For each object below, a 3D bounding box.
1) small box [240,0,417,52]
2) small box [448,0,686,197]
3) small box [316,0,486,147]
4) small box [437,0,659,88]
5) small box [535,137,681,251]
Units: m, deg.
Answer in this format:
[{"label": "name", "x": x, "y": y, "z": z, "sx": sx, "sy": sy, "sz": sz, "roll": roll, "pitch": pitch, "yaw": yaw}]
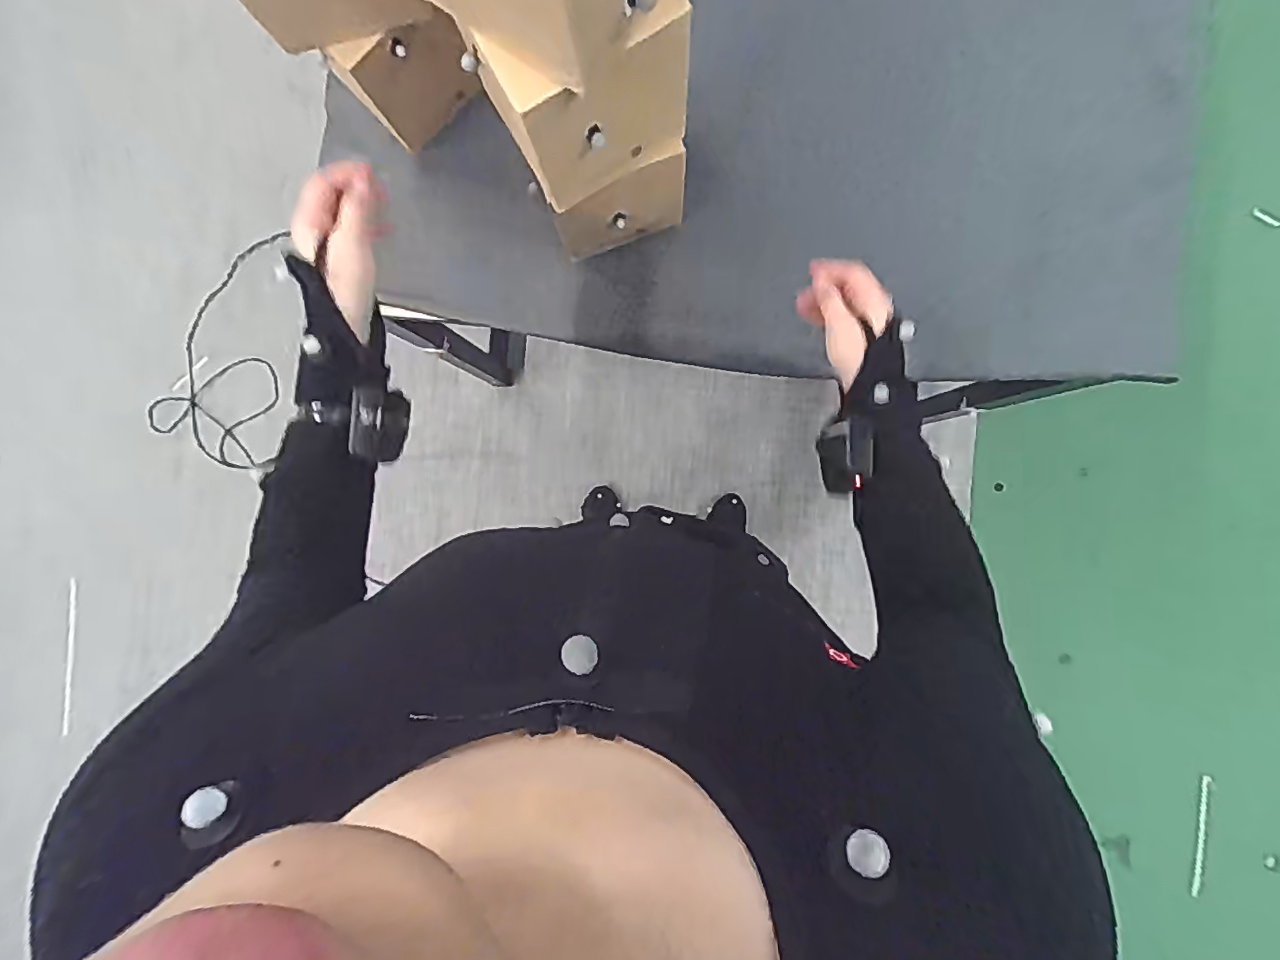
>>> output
[{"label": "small box", "x": -0.340, "y": -0.581, "z": 0.535, "sx": 0.179, "sy": 0.176, "sz": 0.168, "roll": -13, "pitch": 90, "yaw": 4}, {"label": "small box", "x": -0.066, "y": -0.410, "z": 0.521, "sx": 0.168, "sy": 0.176, "sz": 0.179, "roll": -30, "pitch": 88, "yaw": 3}, {"label": "small box", "x": -0.330, "y": -0.586, "z": 0.699, "sx": 0.168, "sy": 0.176, "sz": 0.179, "roll": -44, "pitch": 88, "yaw": 3}, {"label": "small box", "x": -0.072, "y": -0.419, "z": 0.359, "sx": 0.179, "sy": 0.176, "sz": 0.168, "roll": 34, "pitch": 93, "yaw": 3}, {"label": "small box", "x": -0.051, "y": -0.415, "z": 0.683, "sx": 0.168, "sy": 0.176, "sz": 0.179, "roll": -19, "pitch": 88, "yaw": 2}]
